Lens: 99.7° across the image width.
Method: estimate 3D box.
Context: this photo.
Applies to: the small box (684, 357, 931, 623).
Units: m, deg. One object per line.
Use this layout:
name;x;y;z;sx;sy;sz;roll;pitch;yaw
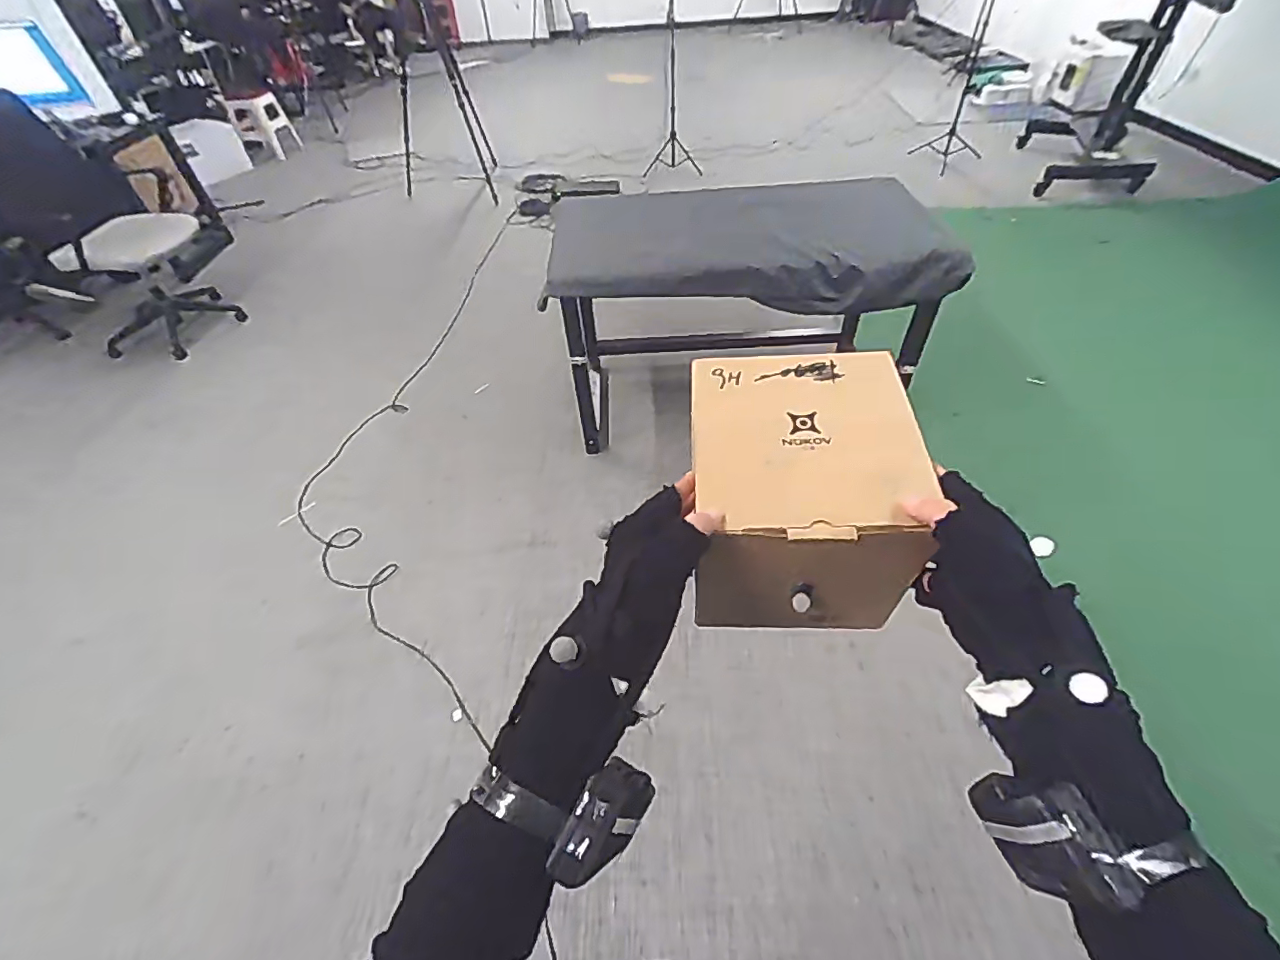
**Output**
small box;0.125;0.017;0.476;0.168;0.176;0.179;-2;53;6
